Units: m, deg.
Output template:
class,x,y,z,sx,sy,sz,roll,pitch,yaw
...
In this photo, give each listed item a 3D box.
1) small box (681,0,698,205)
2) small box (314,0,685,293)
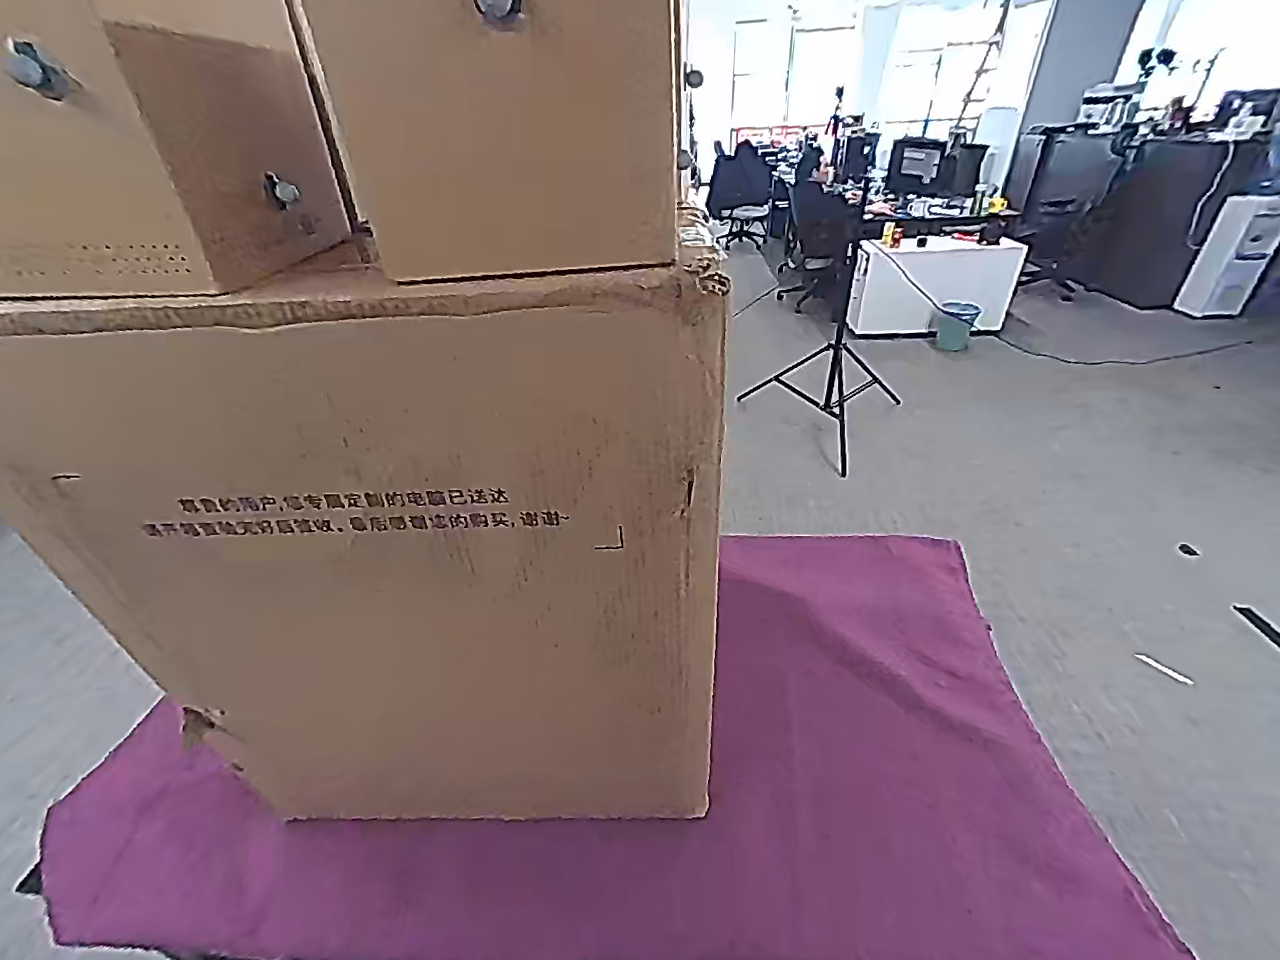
class,x,y,z,sx,sy,sz,roll,pitch,yaw
small box,-0.037,-0.344,0.505,0.179,0.176,0.168,1,34,8
small box,-0.061,-0.225,0.327,0.168,0.176,0.179,-3,33,2
